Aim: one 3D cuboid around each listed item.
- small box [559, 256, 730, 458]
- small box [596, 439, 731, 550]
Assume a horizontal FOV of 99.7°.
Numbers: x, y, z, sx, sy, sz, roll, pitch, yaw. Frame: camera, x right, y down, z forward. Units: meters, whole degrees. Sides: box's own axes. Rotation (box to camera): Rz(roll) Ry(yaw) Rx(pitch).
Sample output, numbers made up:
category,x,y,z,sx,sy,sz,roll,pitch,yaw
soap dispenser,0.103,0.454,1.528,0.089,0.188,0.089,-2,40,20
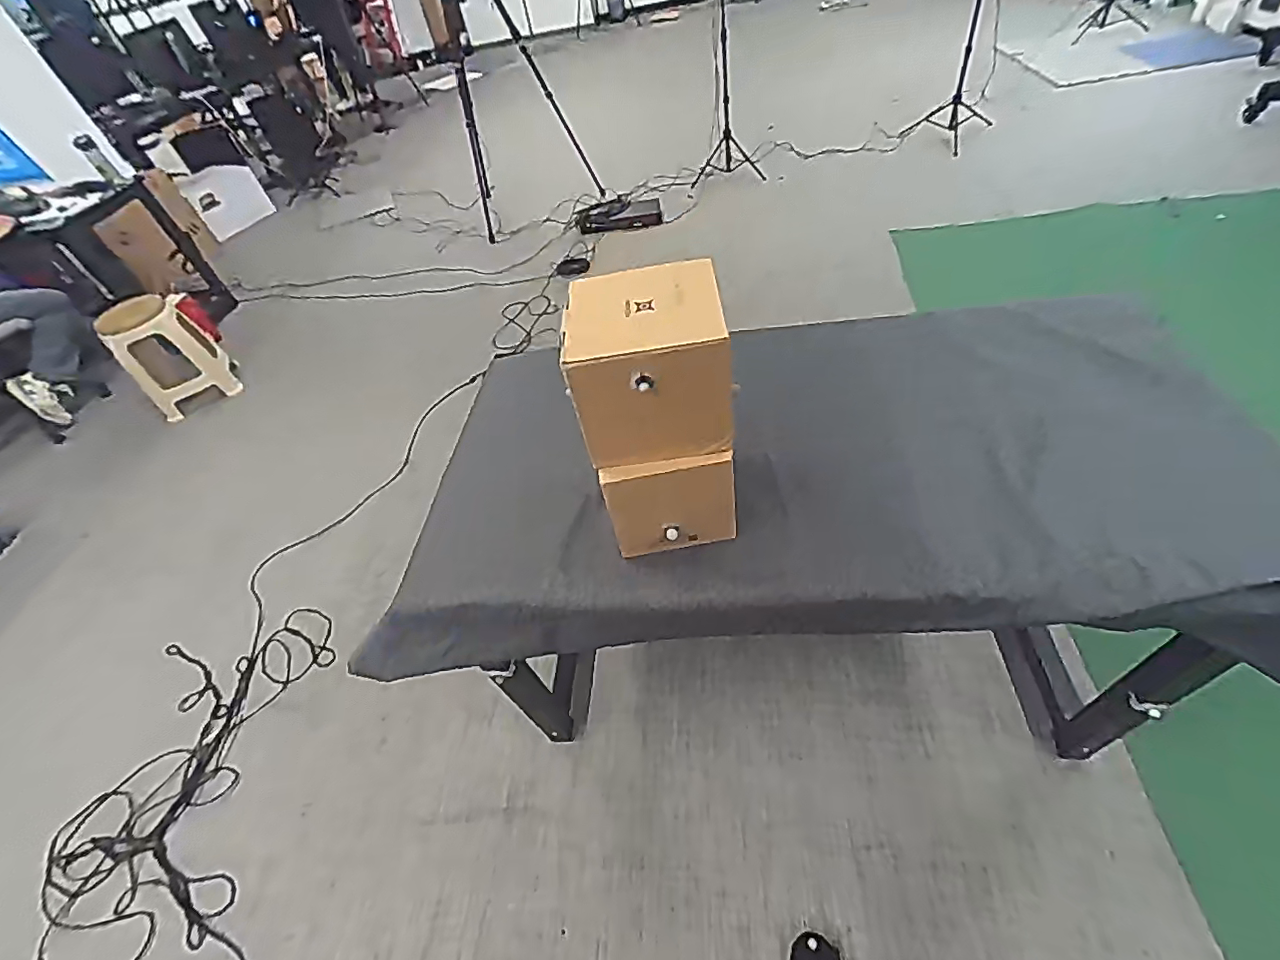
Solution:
category,x,y,z,sx,sy,sz,roll,pitch,yaw
small box,0.011,-0.143,0.658,0.179,0.176,0.168,-7,50,5
small box,0.032,-0.025,0.770,0.168,0.176,0.179,-10,49,3
